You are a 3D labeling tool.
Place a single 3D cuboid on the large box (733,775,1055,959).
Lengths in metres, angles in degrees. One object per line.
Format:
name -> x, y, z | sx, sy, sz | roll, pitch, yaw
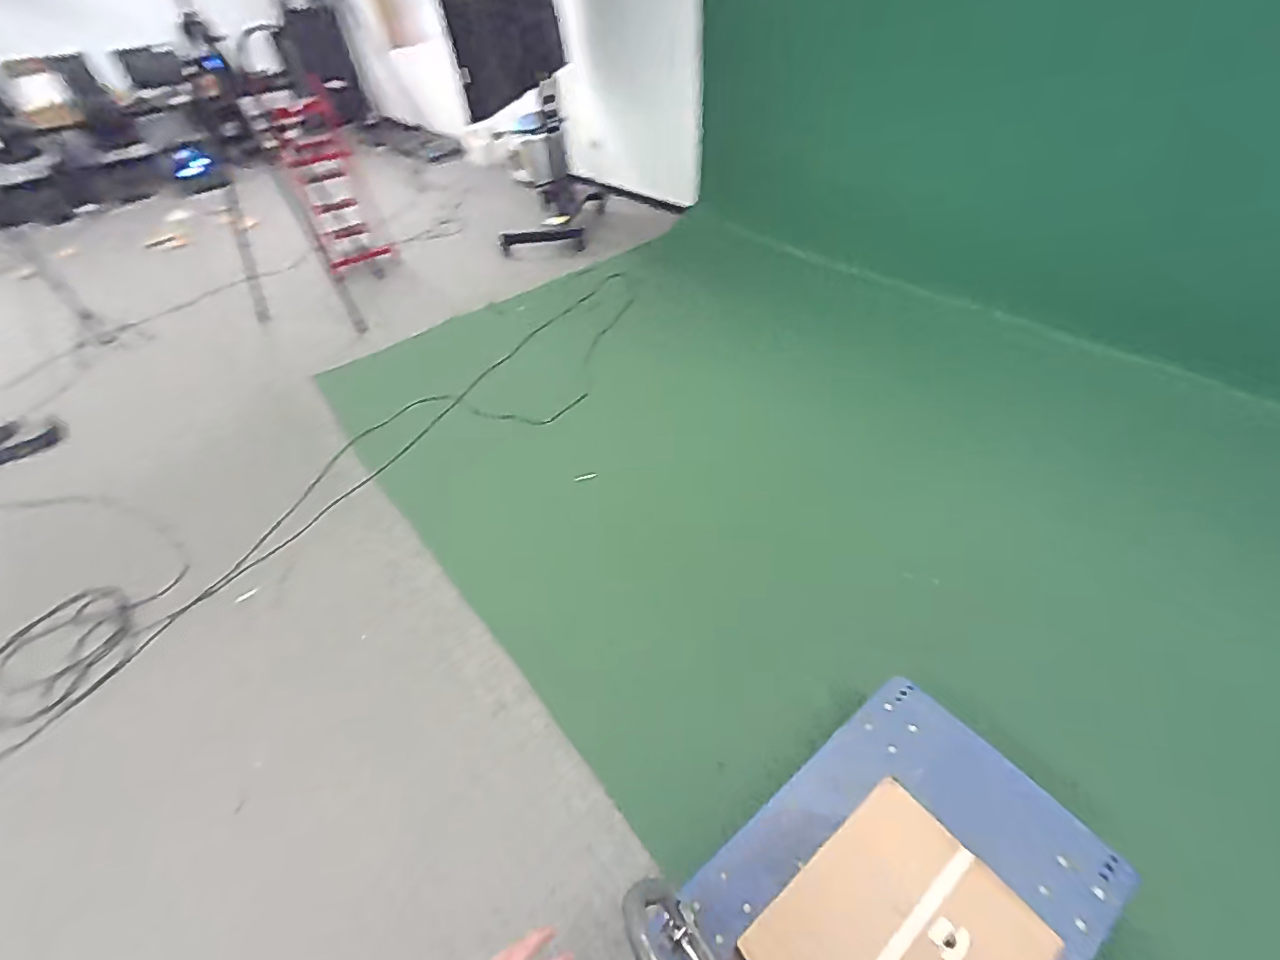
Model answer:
large box -> 0.414, 0.835, 0.958 | 0.408, 0.320, 0.320 | -30, 49, -23
